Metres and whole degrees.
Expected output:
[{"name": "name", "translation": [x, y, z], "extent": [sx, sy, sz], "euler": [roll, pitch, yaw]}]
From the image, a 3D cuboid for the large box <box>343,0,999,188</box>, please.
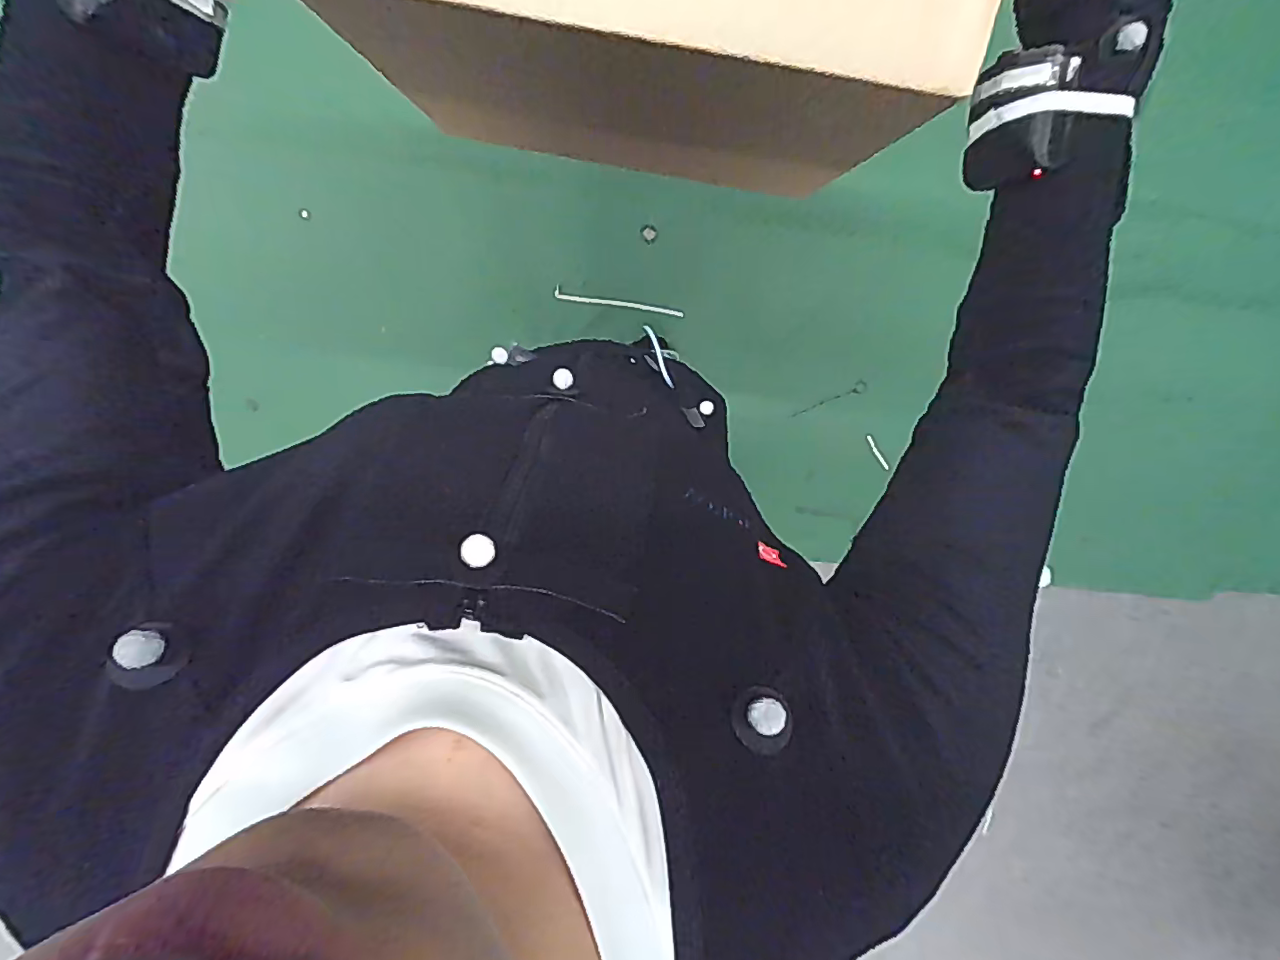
[{"name": "large box", "translation": [0.020, -0.449, 0.407], "extent": [0.408, 0.320, 0.320], "euler": [7, 108, -5]}]
